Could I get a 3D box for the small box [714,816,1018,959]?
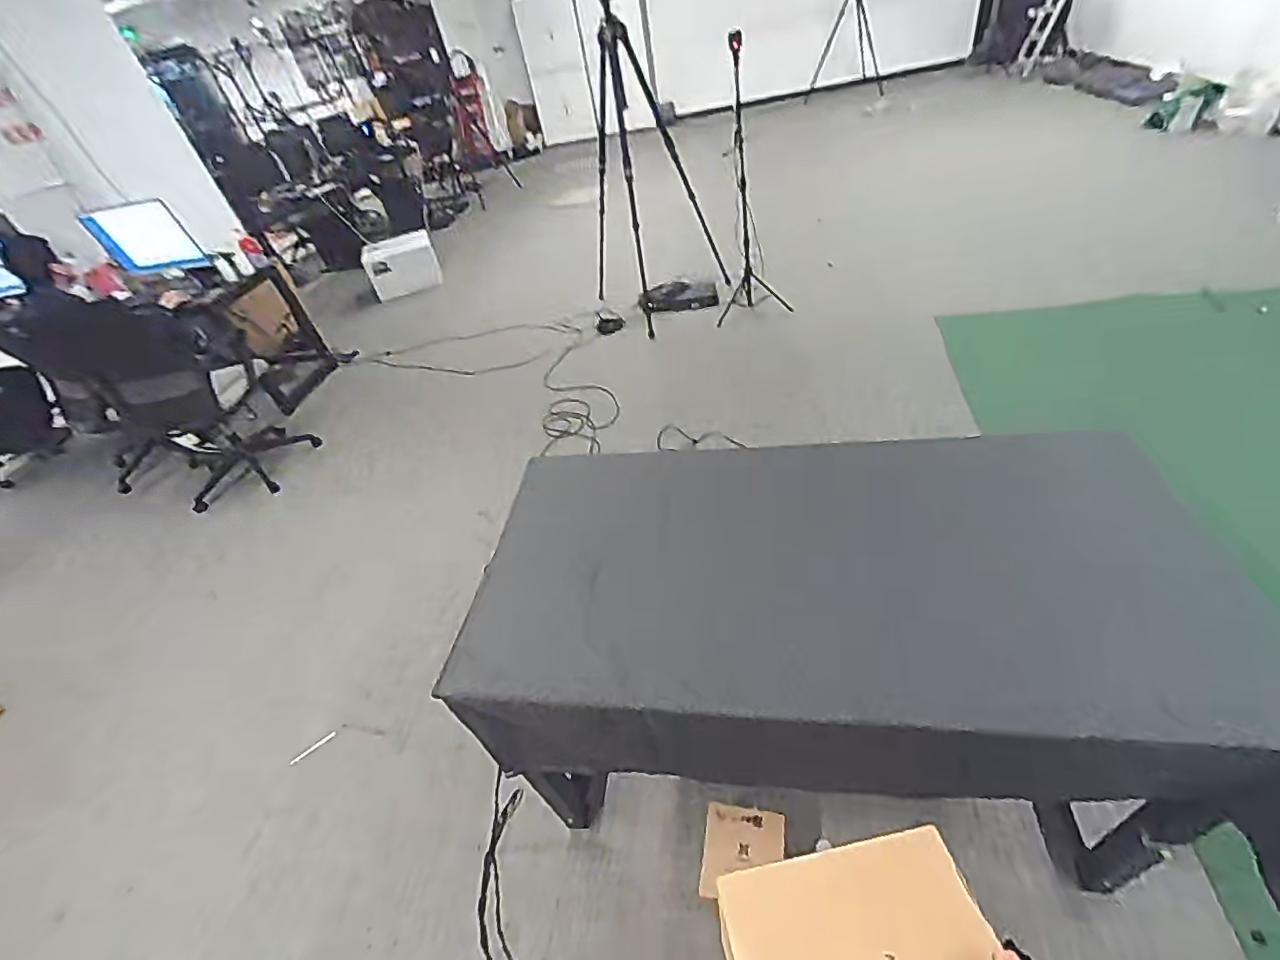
[{"bbox_3d":[0.161,0.378,0.382,0.179,0.176,0.168,-11,37,-4],"label":"small box"}]
